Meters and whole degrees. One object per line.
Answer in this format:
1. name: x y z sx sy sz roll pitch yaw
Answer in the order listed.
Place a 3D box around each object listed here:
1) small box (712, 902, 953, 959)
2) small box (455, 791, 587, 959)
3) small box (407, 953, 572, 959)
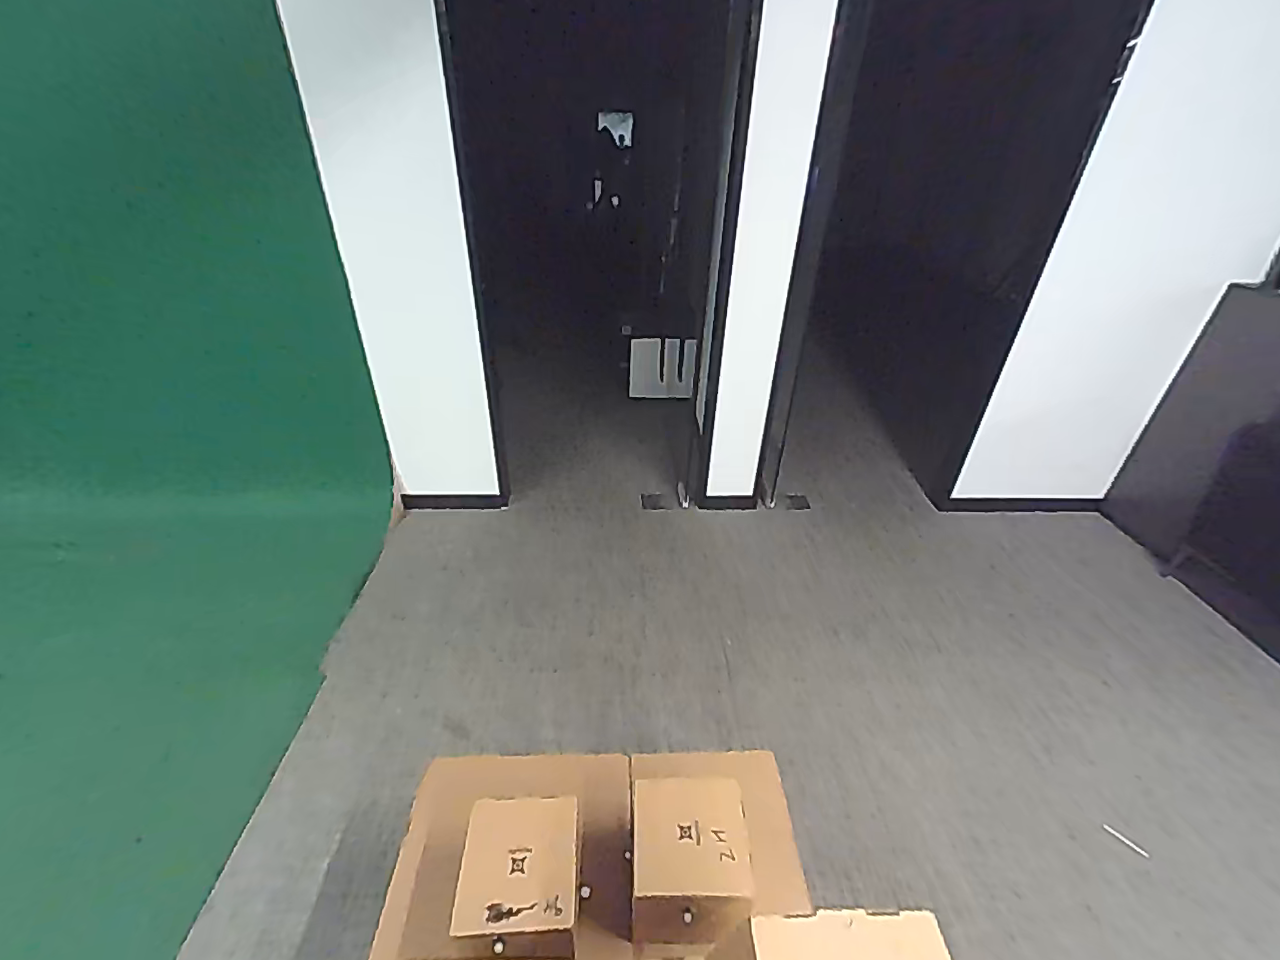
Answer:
1. small box: 0.161 0.471 0.436 0.168 0.176 0.179 3 39 -6
2. small box: -0.170 0.613 0.831 0.168 0.176 0.179 -2 32 -2
3. small box: -0.158 0.608 0.542 0.179 0.176 0.168 1 34 -1
